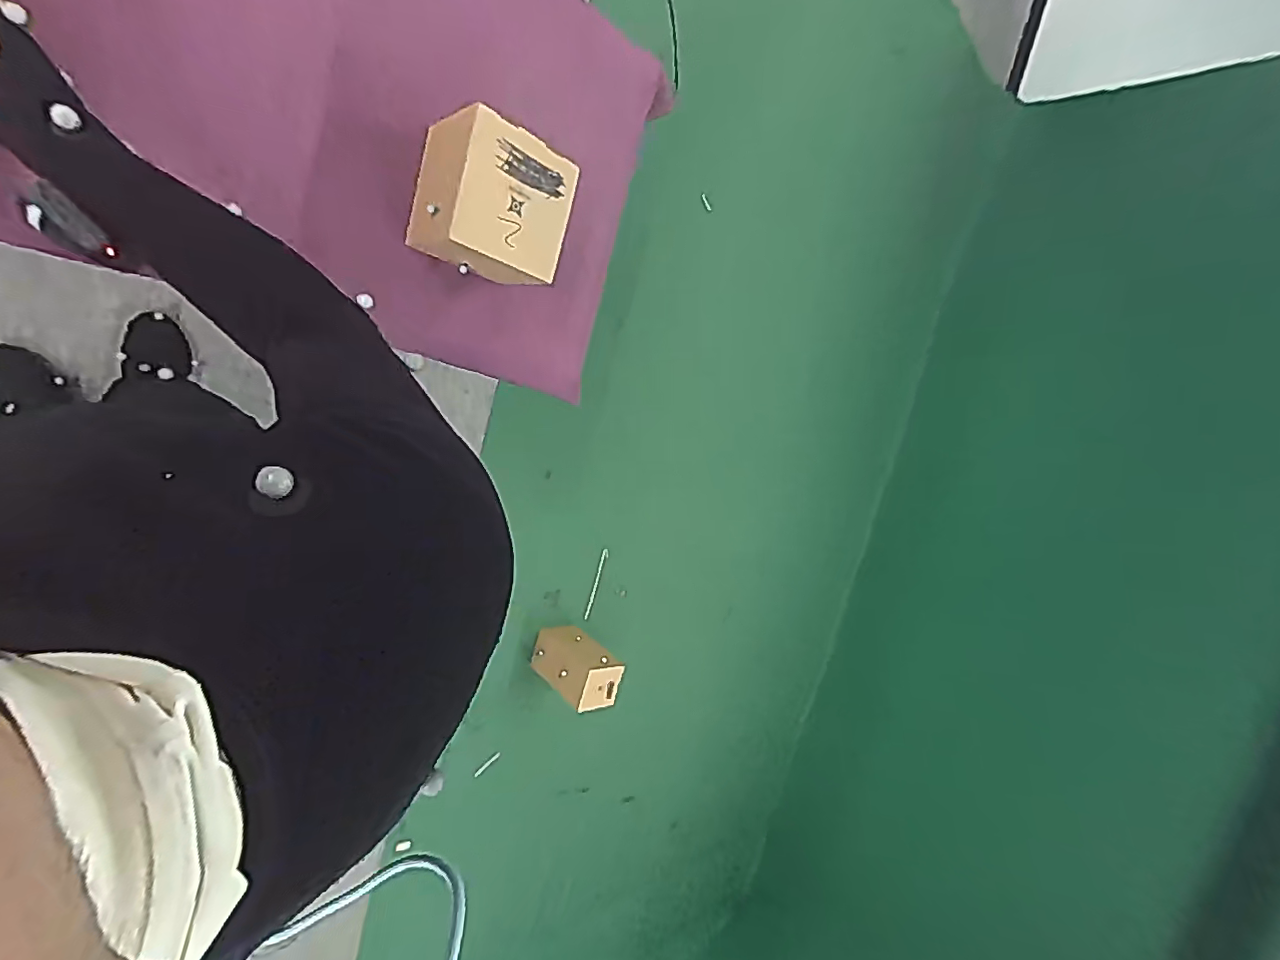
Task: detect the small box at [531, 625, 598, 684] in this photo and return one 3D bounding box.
[{"bbox_3d":[-0.303,0.689,2.158,0.179,0.176,0.168,11,97,-45],"label":"small box"}]

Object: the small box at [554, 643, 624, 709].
[{"bbox_3d":[-0.194,0.732,2.043,0.179,0.176,0.168,11,97,-44],"label":"small box"}]
